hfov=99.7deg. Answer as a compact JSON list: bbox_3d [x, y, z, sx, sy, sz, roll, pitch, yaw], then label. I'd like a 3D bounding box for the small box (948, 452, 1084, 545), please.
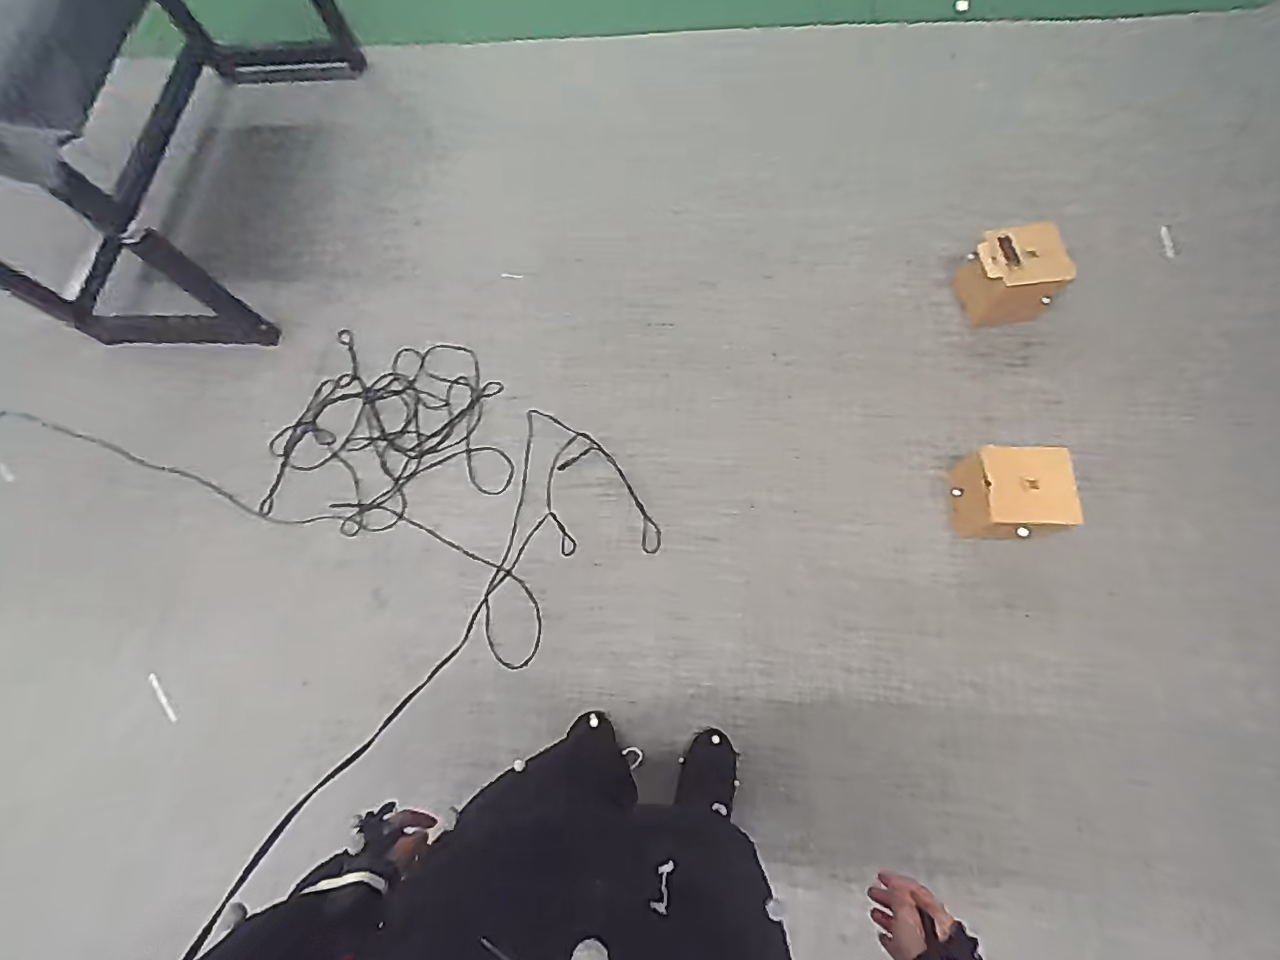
[{"bbox_3d":[0.813,0.044,1.186,0.179,0.176,0.168,1,72,6],"label":"small box"}]
